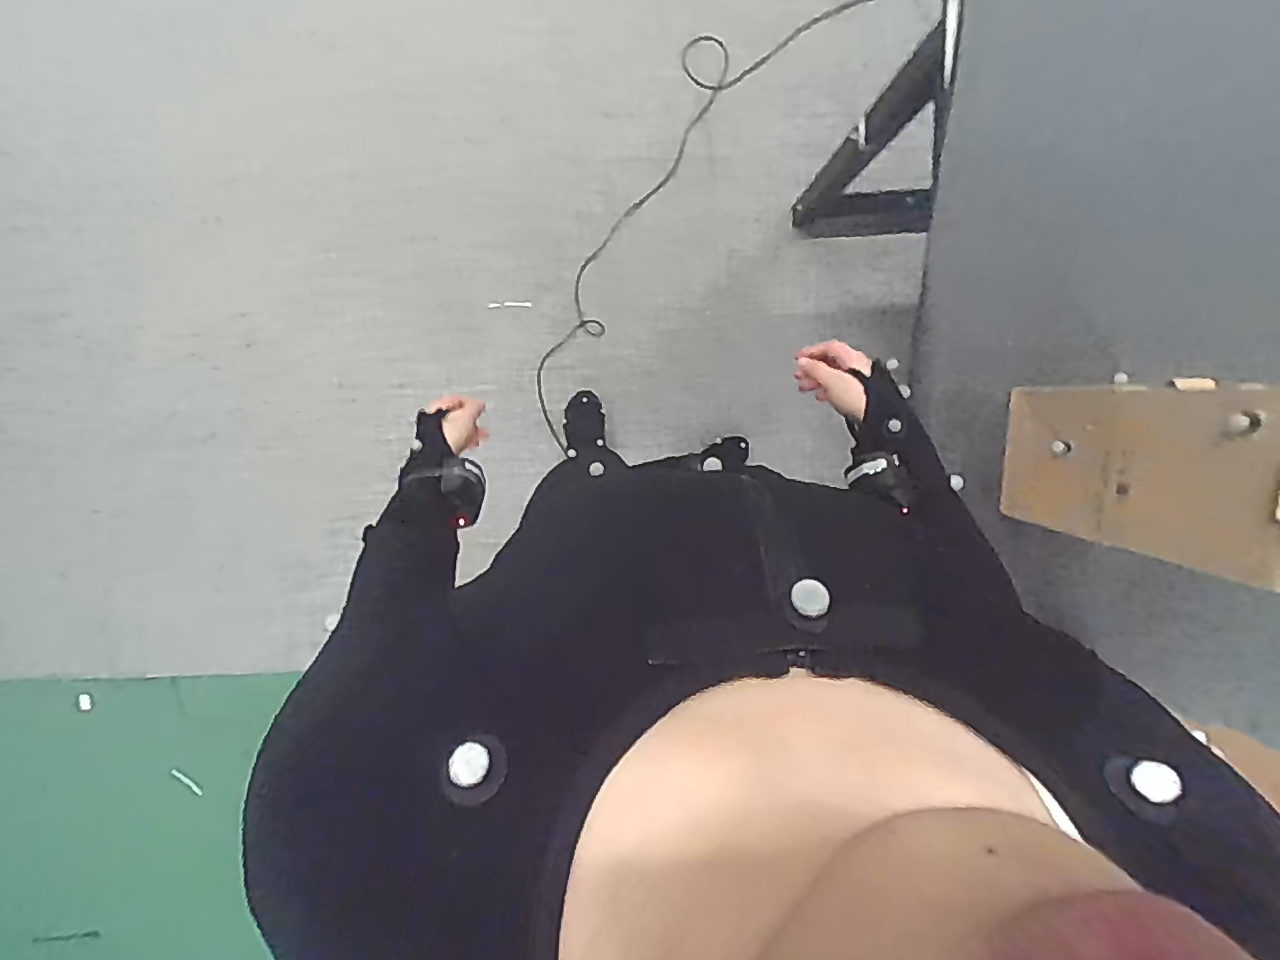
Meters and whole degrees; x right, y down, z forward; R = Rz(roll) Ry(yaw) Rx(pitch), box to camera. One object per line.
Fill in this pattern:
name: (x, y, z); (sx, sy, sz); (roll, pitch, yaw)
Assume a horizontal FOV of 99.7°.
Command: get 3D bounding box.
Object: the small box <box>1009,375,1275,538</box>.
small box: (0.587, -0.032, 0.657); (0.168, 0.176, 0.179); (-1, 97, -1)
